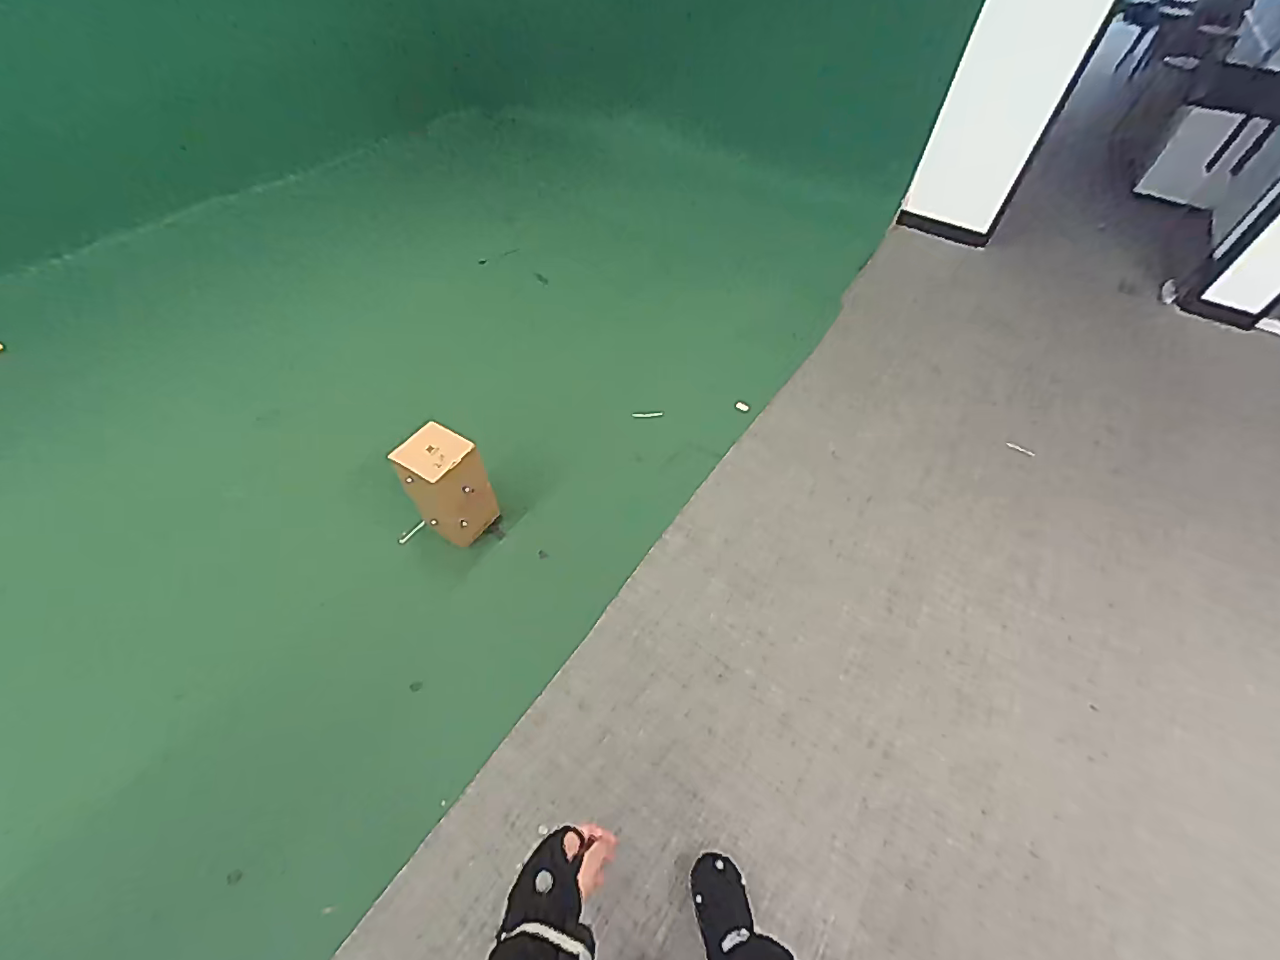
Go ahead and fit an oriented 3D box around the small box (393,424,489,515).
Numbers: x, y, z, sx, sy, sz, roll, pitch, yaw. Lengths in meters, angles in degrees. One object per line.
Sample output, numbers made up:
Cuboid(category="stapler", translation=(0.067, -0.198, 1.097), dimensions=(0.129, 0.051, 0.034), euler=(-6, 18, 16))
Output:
Cuboid(category="small box", translation=(-0.567, -0.027, 1.561), dimensions=(0.179, 0.176, 0.168), euler=(27, 56, 19))
